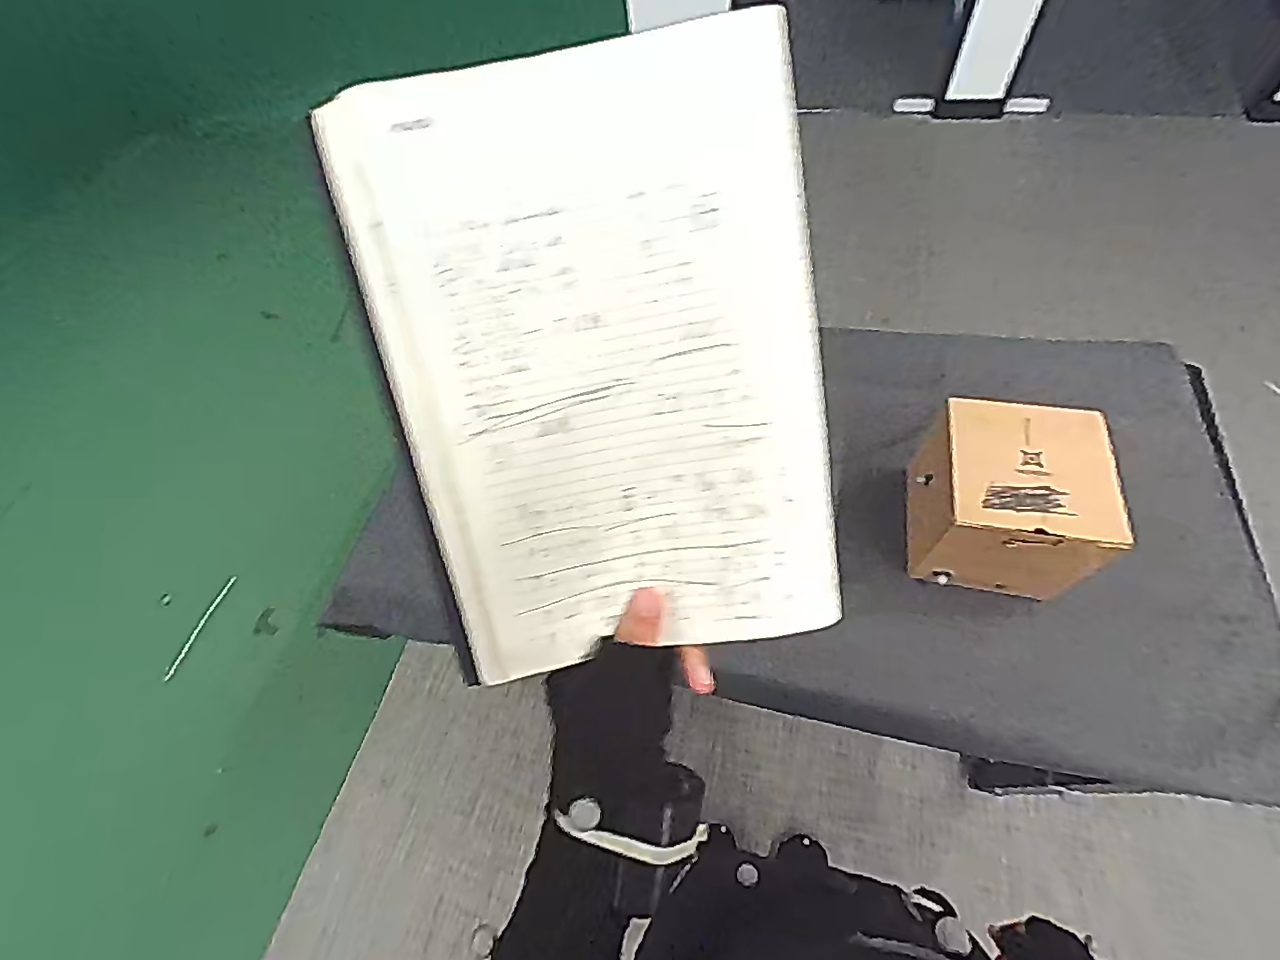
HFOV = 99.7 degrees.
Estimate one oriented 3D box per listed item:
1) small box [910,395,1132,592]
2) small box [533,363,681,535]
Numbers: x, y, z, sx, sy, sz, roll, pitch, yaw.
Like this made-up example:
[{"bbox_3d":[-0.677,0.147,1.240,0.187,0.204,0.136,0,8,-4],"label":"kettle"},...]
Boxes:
[{"bbox_3d":[0.448,0.022,0.670,0.168,0.176,0.179,8,60,13],"label":"small box"},{"bbox_3d":[-0.033,-0.042,0.772,0.168,0.176,0.179,5,60,11],"label":"small box"}]
